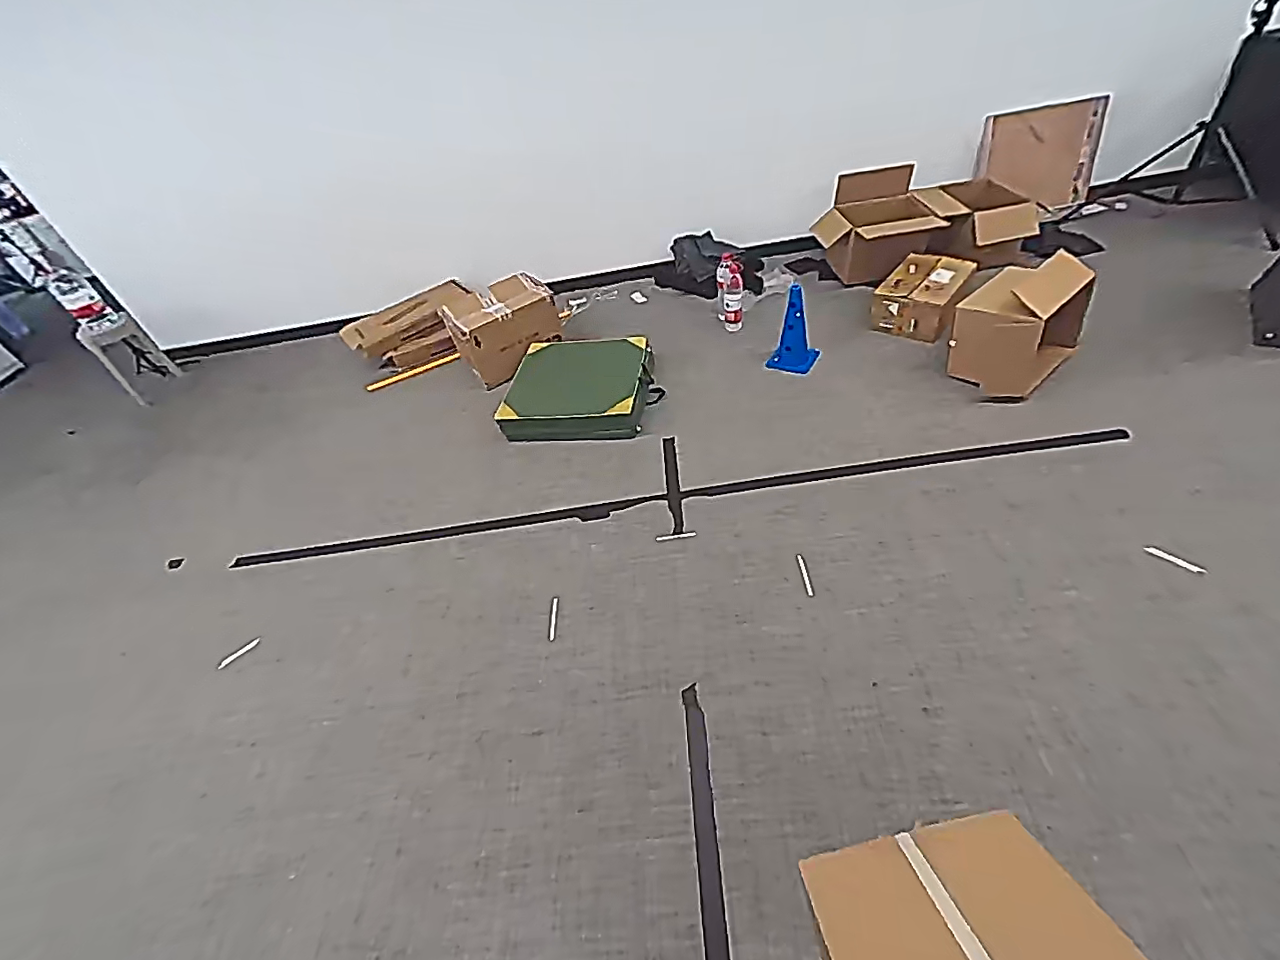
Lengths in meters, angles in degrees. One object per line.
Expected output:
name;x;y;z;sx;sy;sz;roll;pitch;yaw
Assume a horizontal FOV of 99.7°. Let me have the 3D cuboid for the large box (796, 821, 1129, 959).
large box;0.410;0.690;0.596;0.320;0.320;0.408;-16;8;2
